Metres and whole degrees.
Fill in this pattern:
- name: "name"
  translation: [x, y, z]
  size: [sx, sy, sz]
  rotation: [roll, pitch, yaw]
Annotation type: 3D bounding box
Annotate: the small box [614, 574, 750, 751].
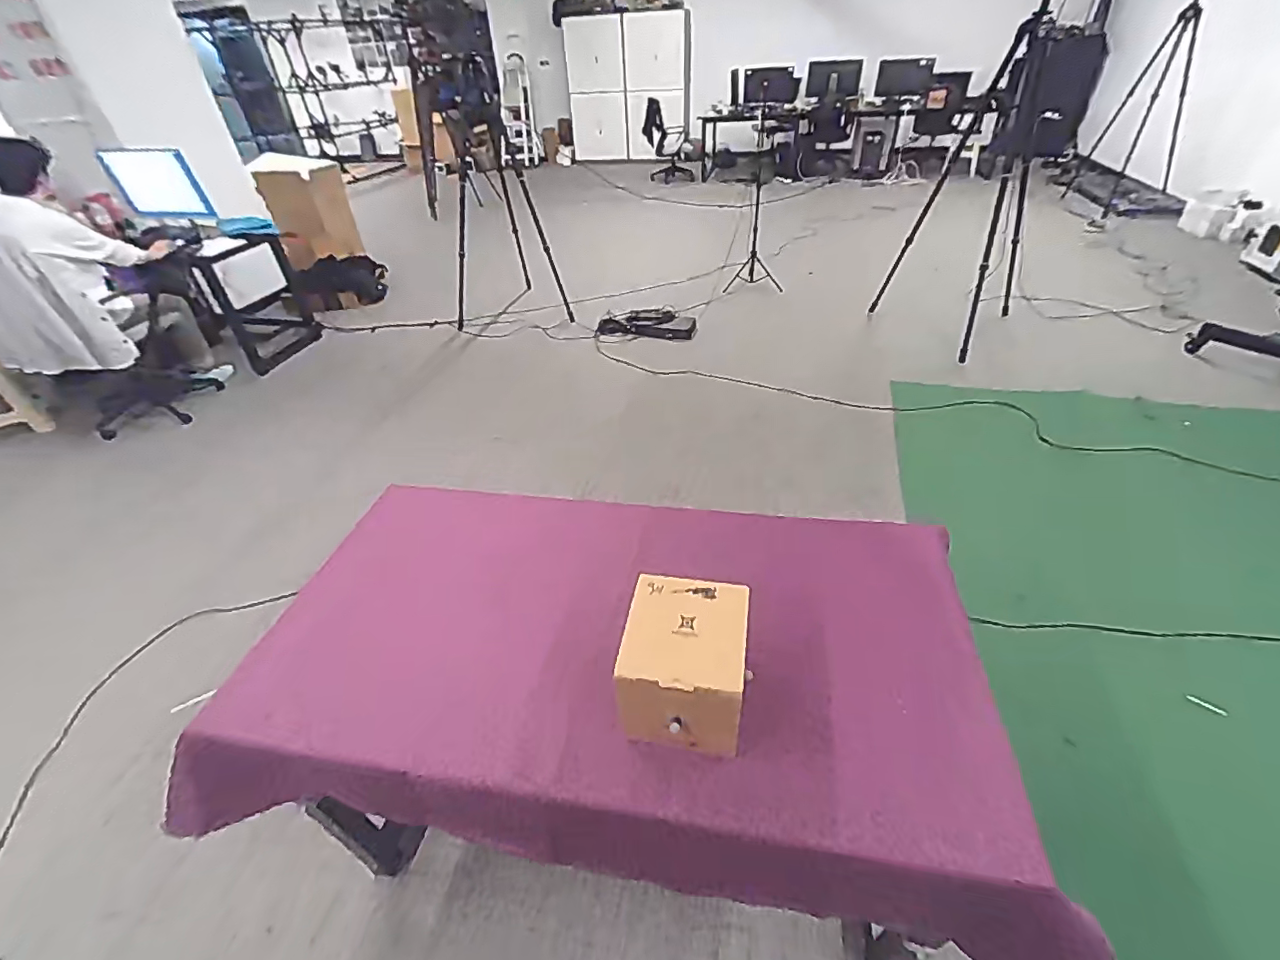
- name: "small box"
  translation: [0.068, 0.266, 0.787]
  size: [0.168, 0.176, 0.179]
  rotation: [5, 41, 11]
